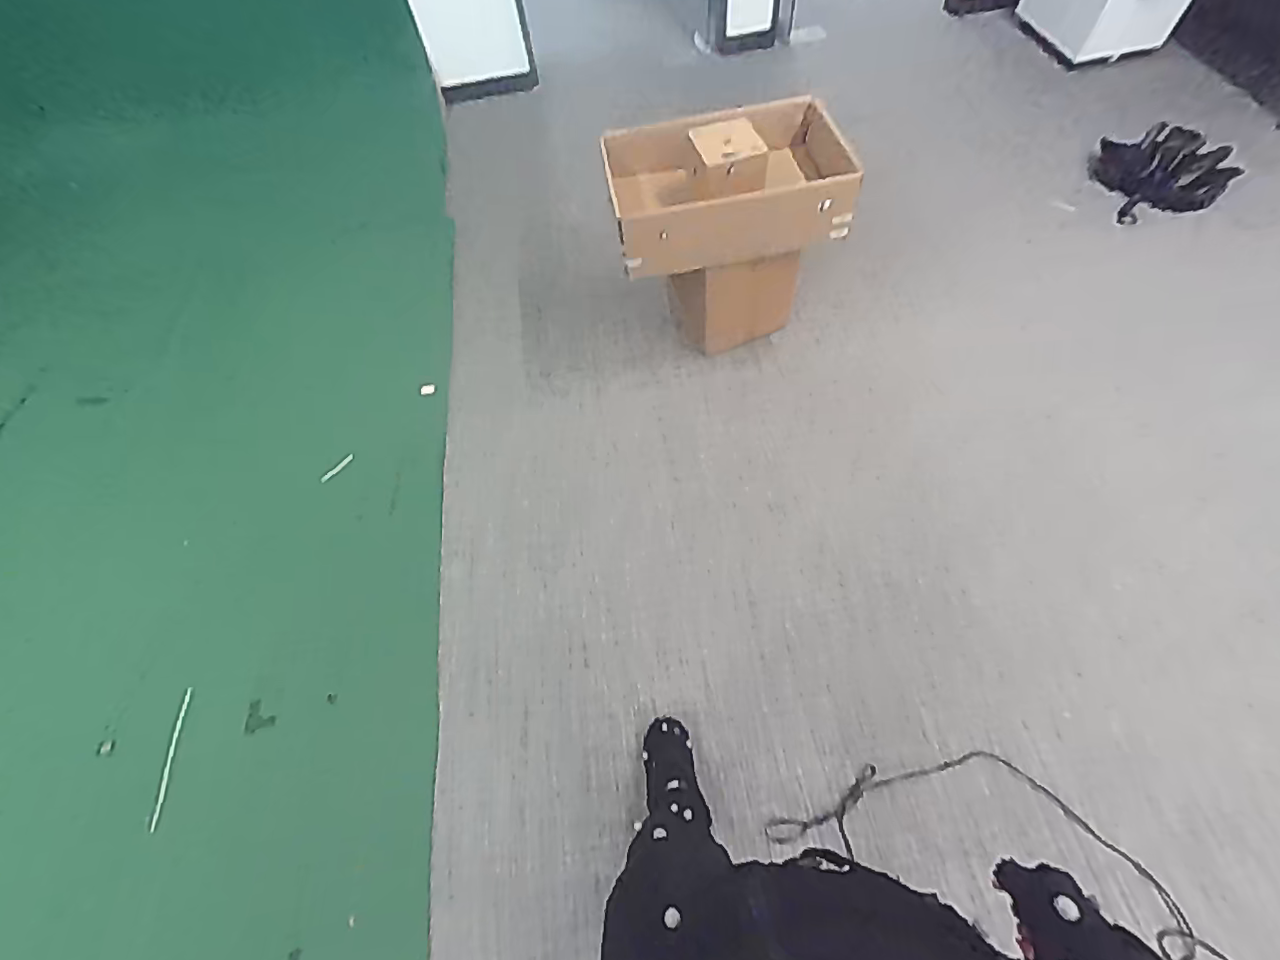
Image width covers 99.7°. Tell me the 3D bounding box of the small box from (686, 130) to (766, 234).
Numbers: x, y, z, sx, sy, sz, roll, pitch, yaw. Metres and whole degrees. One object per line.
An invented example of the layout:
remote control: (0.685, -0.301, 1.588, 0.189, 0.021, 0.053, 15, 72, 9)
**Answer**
small box: (0.228, -0.807, 1.471, 0.168, 0.176, 0.179, -17, 59, -2)
